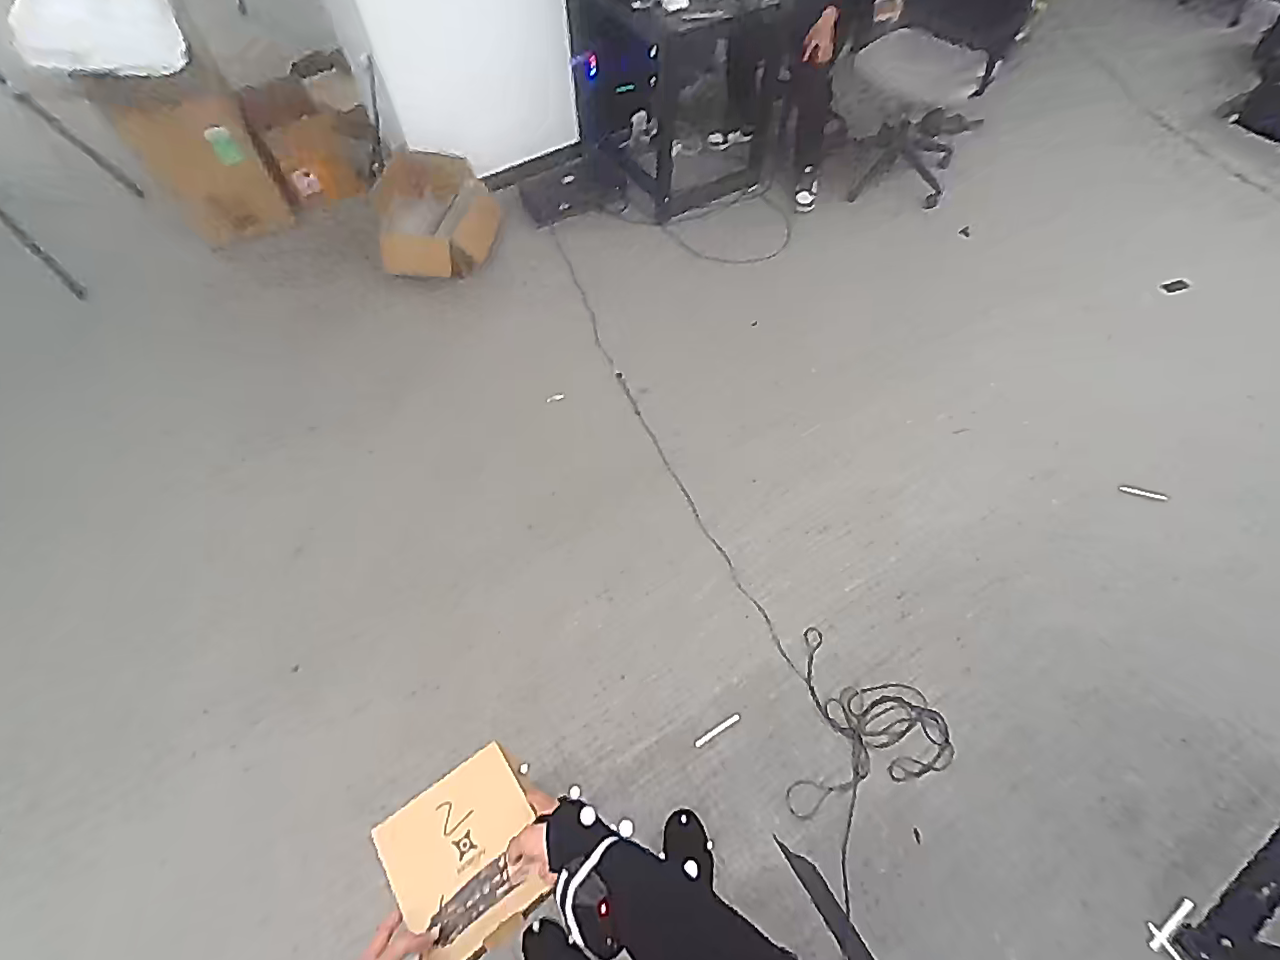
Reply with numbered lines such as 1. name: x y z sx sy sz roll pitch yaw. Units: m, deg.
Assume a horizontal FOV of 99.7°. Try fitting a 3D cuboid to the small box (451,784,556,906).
1. small box: -0.310 0.832 1.248 0.168 0.176 0.179 -25 63 -12
